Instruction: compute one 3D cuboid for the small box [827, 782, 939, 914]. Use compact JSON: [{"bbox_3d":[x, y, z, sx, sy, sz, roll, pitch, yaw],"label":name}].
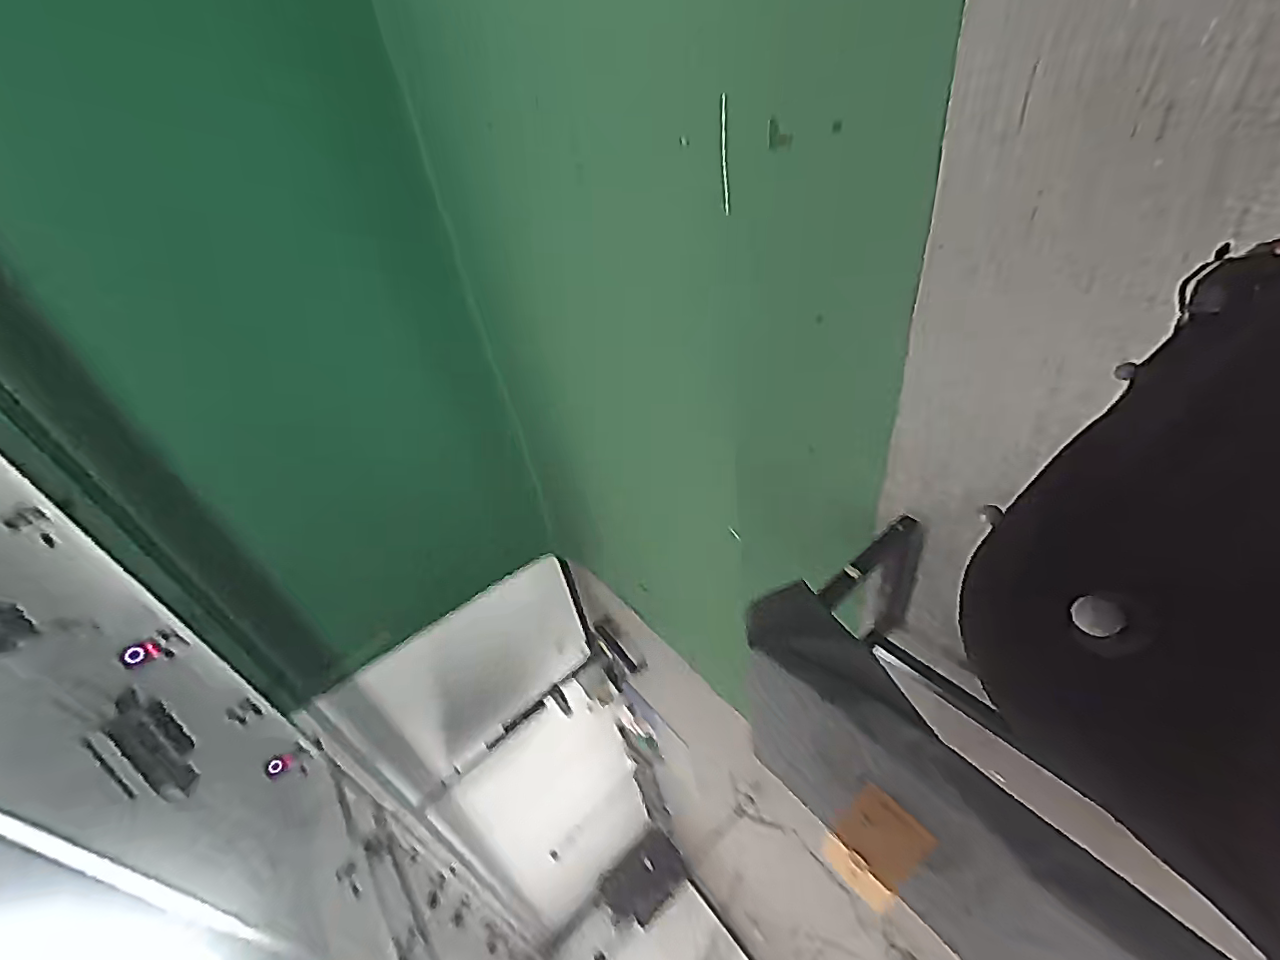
[{"bbox_3d":[0.562,0.847,1.257,0.168,0.176,0.179,36,149,41],"label":"small box"}]
